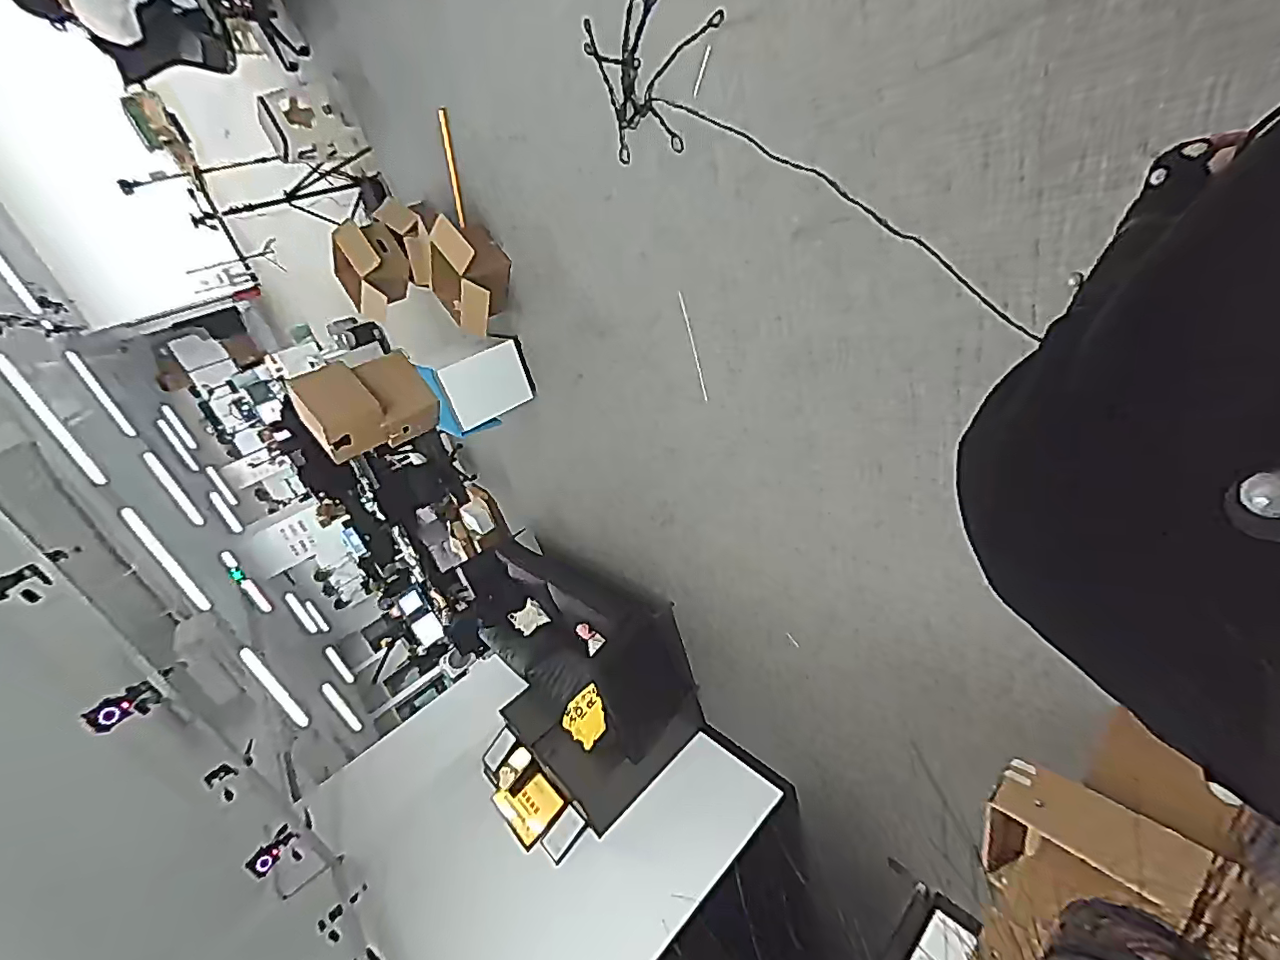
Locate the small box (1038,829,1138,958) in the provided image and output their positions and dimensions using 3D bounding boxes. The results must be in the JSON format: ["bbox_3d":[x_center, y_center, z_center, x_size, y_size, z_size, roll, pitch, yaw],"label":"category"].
[{"bbox_3d":[1.127,1.044,1.378,0.168,0.176,0.179,25,137,46],"label":"small box"}]

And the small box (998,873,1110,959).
[{"bbox_3d":[0.995,1.114,1.309,0.179,0.176,0.168,24,136,47],"label":"small box"}]

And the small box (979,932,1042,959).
[{"bbox_3d":[0.871,1.195,1.240,0.179,0.176,0.168,23,136,47],"label":"small box"}]
